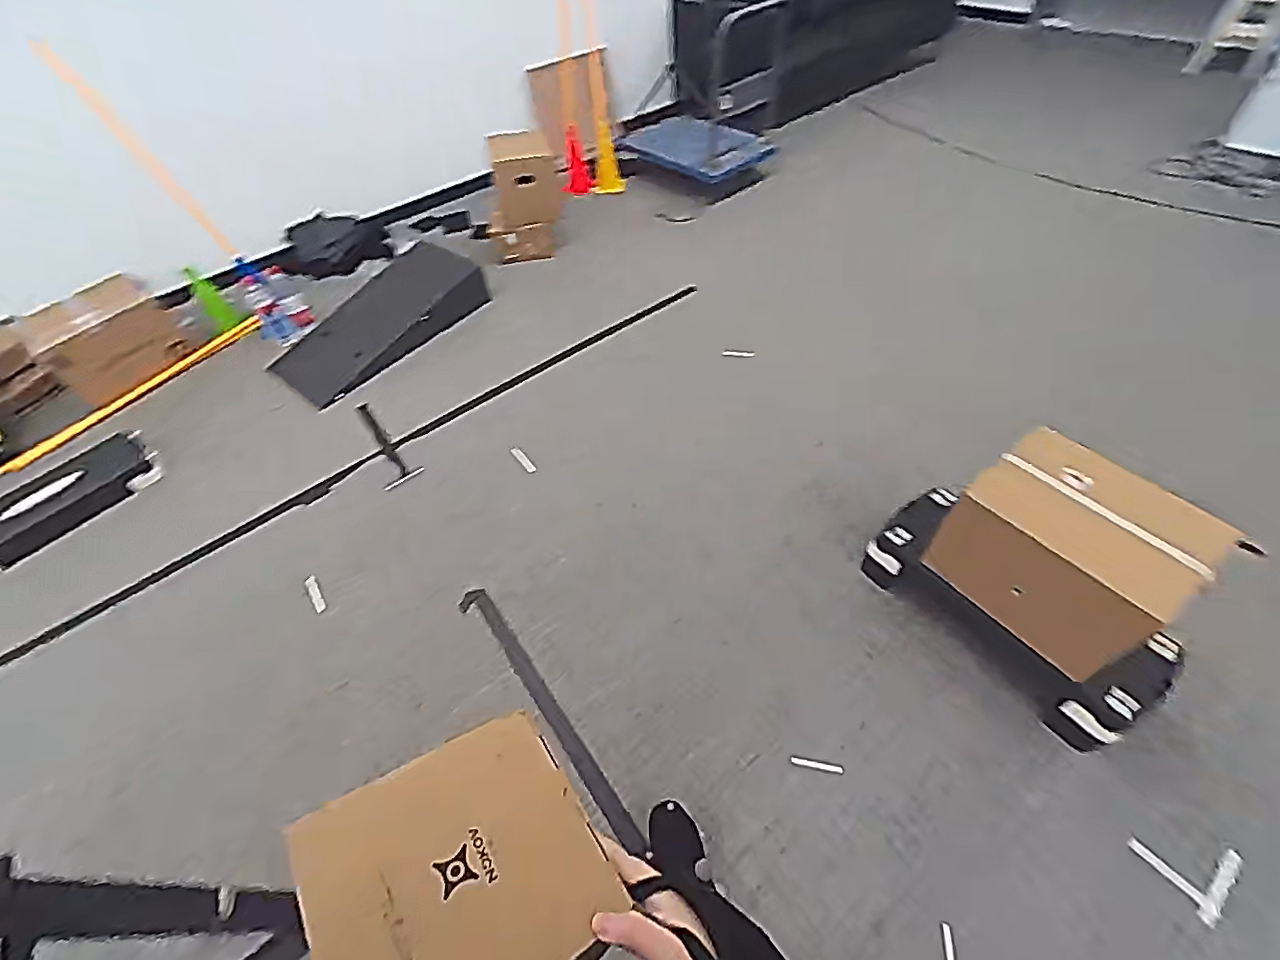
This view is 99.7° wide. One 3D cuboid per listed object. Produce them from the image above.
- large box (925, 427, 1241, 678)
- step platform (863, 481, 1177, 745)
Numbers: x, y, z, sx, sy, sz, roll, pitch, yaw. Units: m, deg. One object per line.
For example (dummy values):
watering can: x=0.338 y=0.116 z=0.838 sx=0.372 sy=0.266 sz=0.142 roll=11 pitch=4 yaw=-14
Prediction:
large box: x=0.956 y=0.157 z=1.228 sx=0.320 sy=0.320 sz=0.408 roll=-32 pitch=53 yaw=-19
step platform: x=0.940 y=0.306 z=1.418 sx=0.286 sy=0.204 sz=0.684 roll=-28 pitch=52 yaw=-16
